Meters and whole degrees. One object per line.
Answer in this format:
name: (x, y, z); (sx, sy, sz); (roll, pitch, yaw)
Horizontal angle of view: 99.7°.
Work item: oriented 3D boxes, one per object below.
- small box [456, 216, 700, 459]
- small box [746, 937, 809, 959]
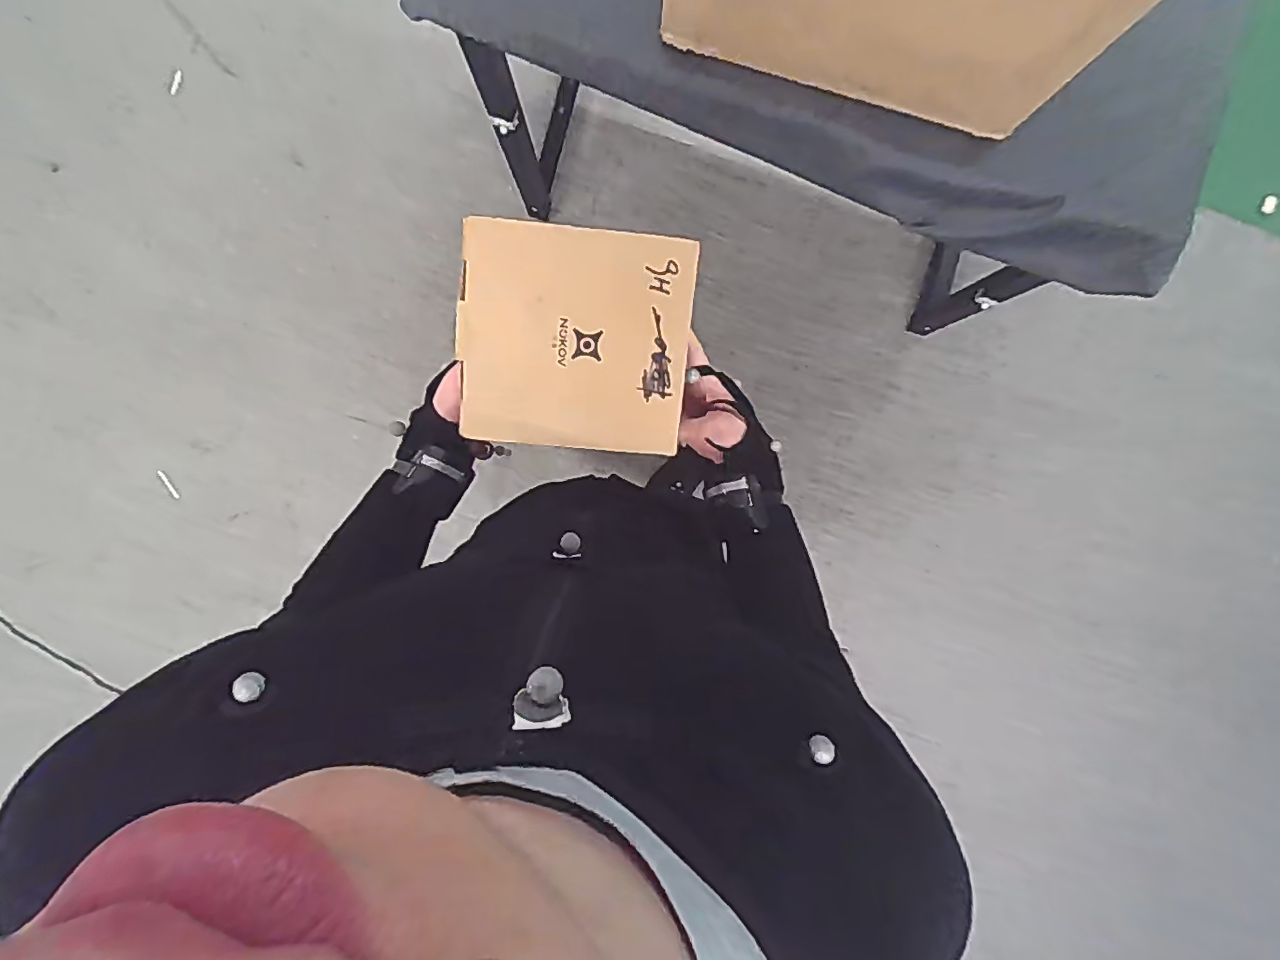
small box: (-0.053, -0.125, 0.494); (0.179, 0.176, 0.168); (6, 105, -4)
small box: (0.367, 1.349, 1.399); (0.168, 0.176, 0.179); (13, 92, -4)
